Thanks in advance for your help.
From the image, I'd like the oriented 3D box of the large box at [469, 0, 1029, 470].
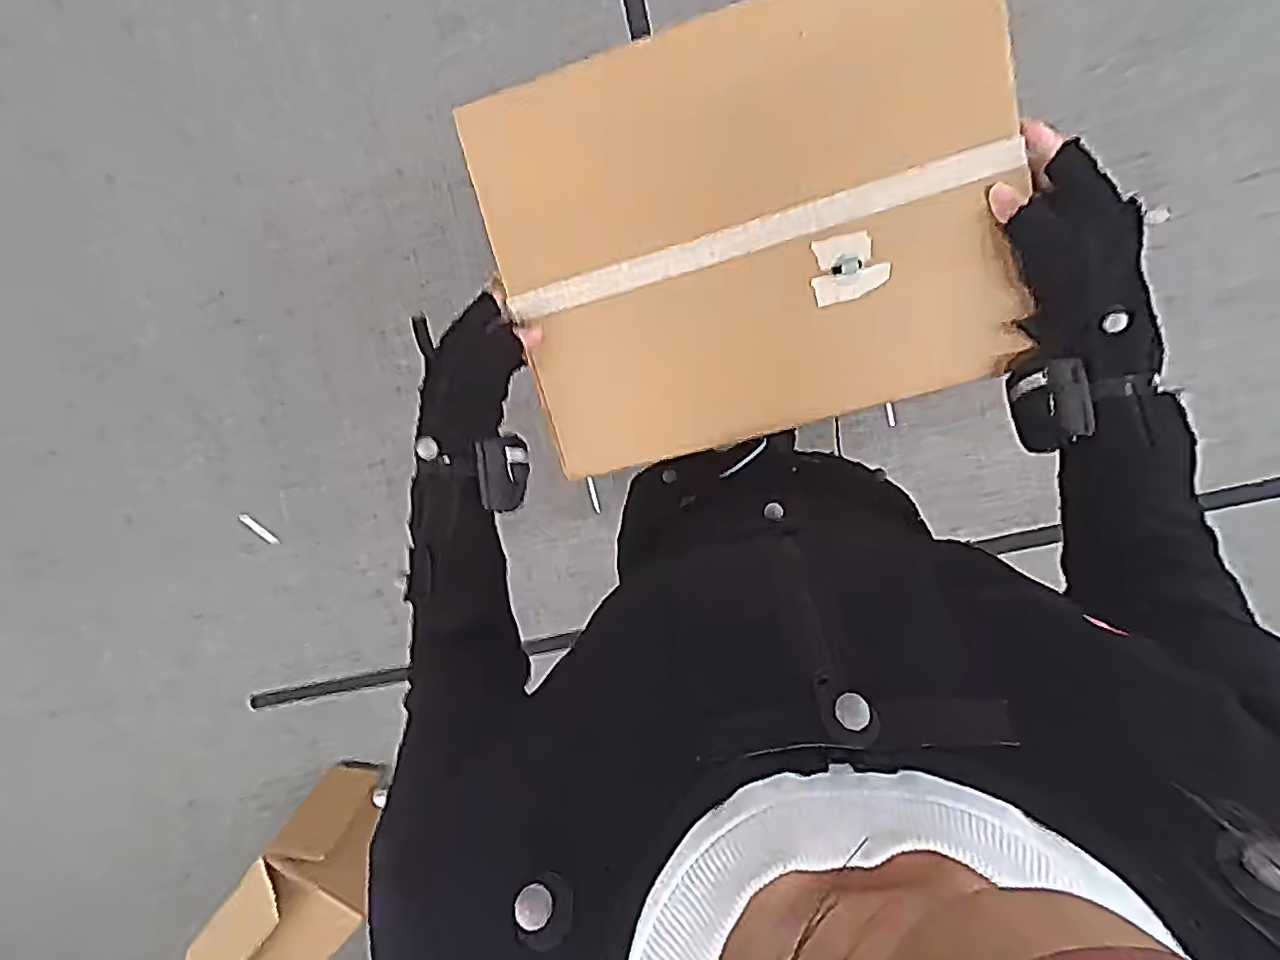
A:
[{"bbox_3d":[0.100,-0.232,0.587,0.408,0.320,0.320,-14,101,9],"label":"large box"}]
